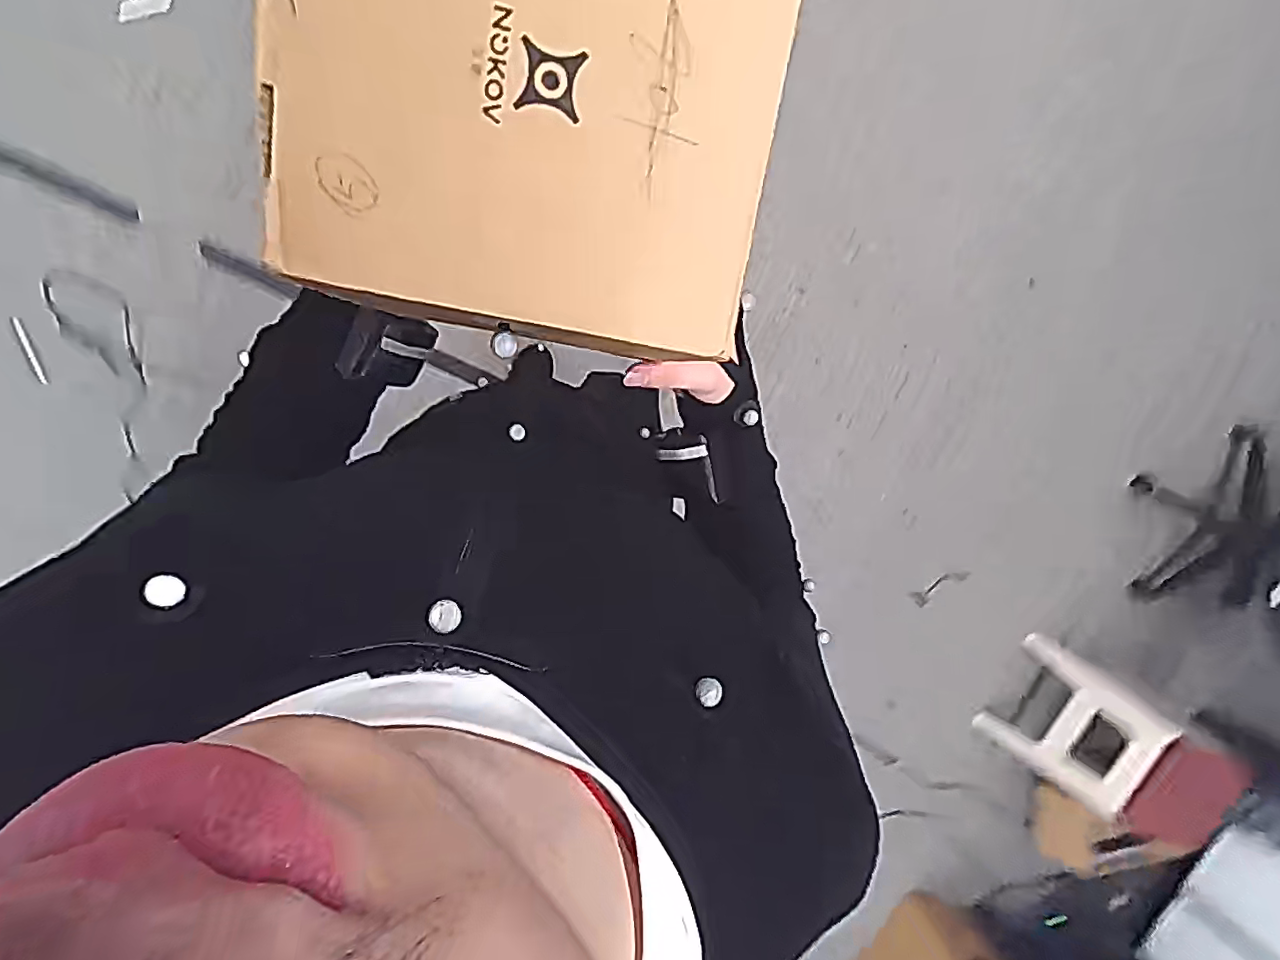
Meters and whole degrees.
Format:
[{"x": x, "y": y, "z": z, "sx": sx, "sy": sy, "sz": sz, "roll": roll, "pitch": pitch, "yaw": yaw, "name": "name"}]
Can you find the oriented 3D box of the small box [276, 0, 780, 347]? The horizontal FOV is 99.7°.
[{"x": -0.050, "y": -0.164, "z": 0.279, "sx": 0.179, "sy": 0.176, "sz": 0.168, "roll": 7, "pitch": 102, "yaw": -11, "name": "small box"}]
